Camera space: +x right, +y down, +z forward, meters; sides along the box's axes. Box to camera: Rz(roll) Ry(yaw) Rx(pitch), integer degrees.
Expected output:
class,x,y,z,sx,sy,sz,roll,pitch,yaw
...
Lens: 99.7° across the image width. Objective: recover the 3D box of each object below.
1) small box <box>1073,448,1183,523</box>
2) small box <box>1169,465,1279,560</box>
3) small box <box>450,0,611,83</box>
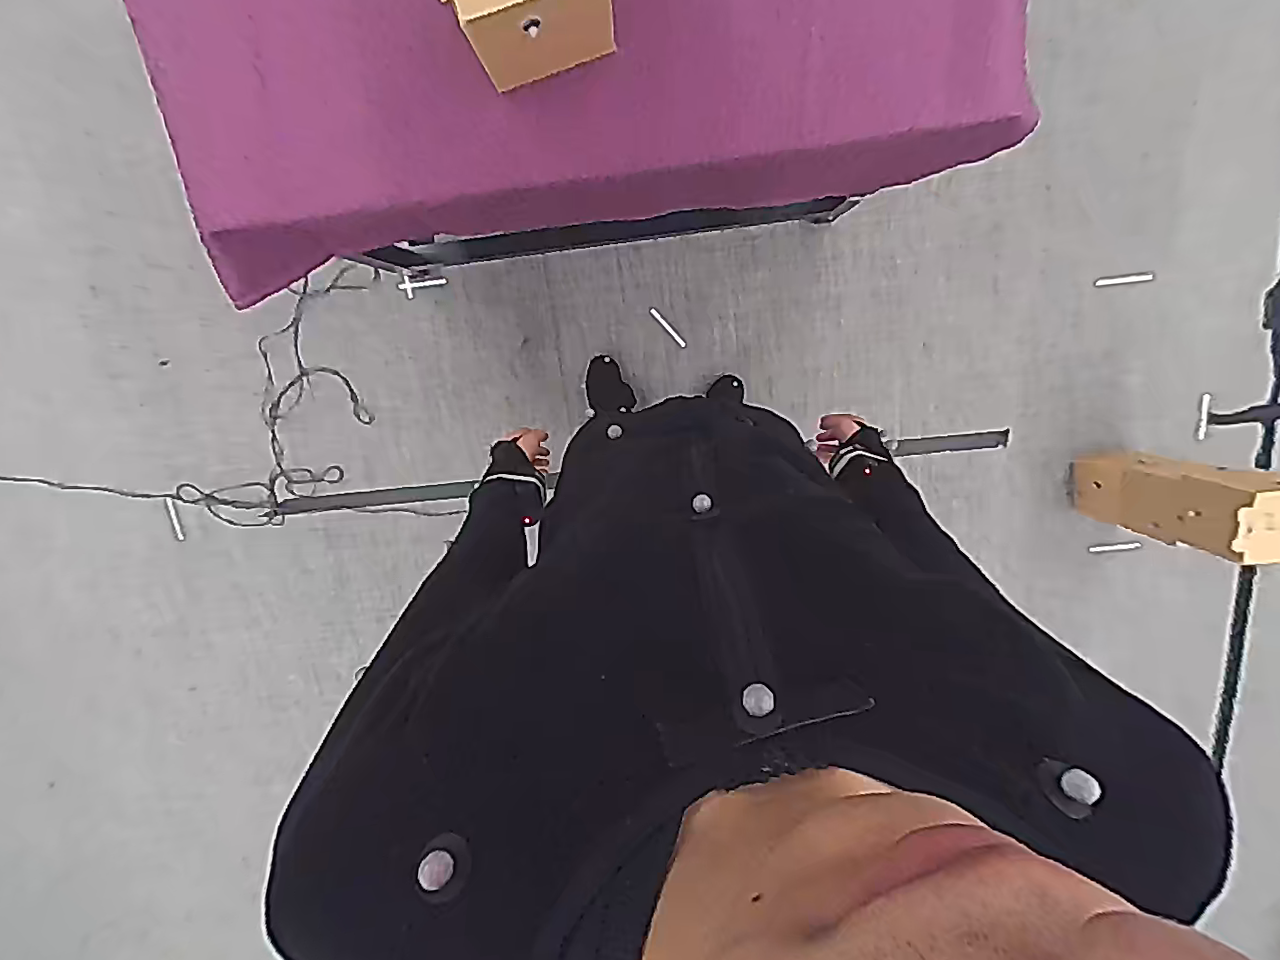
class,x,y,z,sx,sy,sz,roll,pitch,yaw
small box,1.390,0.011,1.554,0.179,0.176,0.168,-10,104,2
small box,1.377,0.068,1.228,0.179,0.176,0.168,-5,104,2
small box,-0.143,-0.625,0.651,0.179,0.176,0.168,-17,103,4
